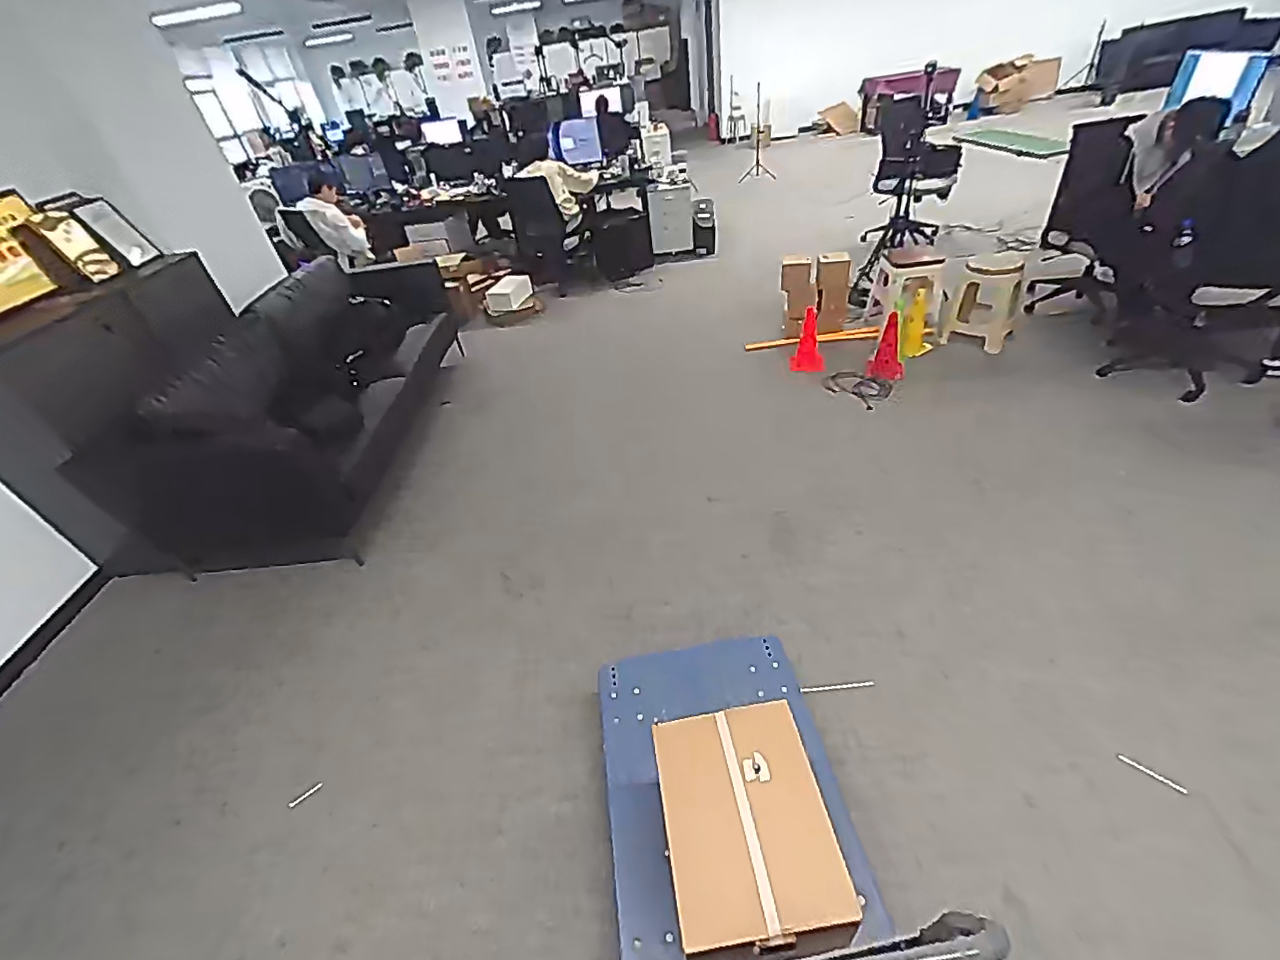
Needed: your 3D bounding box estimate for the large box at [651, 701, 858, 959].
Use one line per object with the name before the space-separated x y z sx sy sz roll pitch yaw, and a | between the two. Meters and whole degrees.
large box | 0.222 0.768 1.167 0.320 0.320 0.408 -10 38 -1
